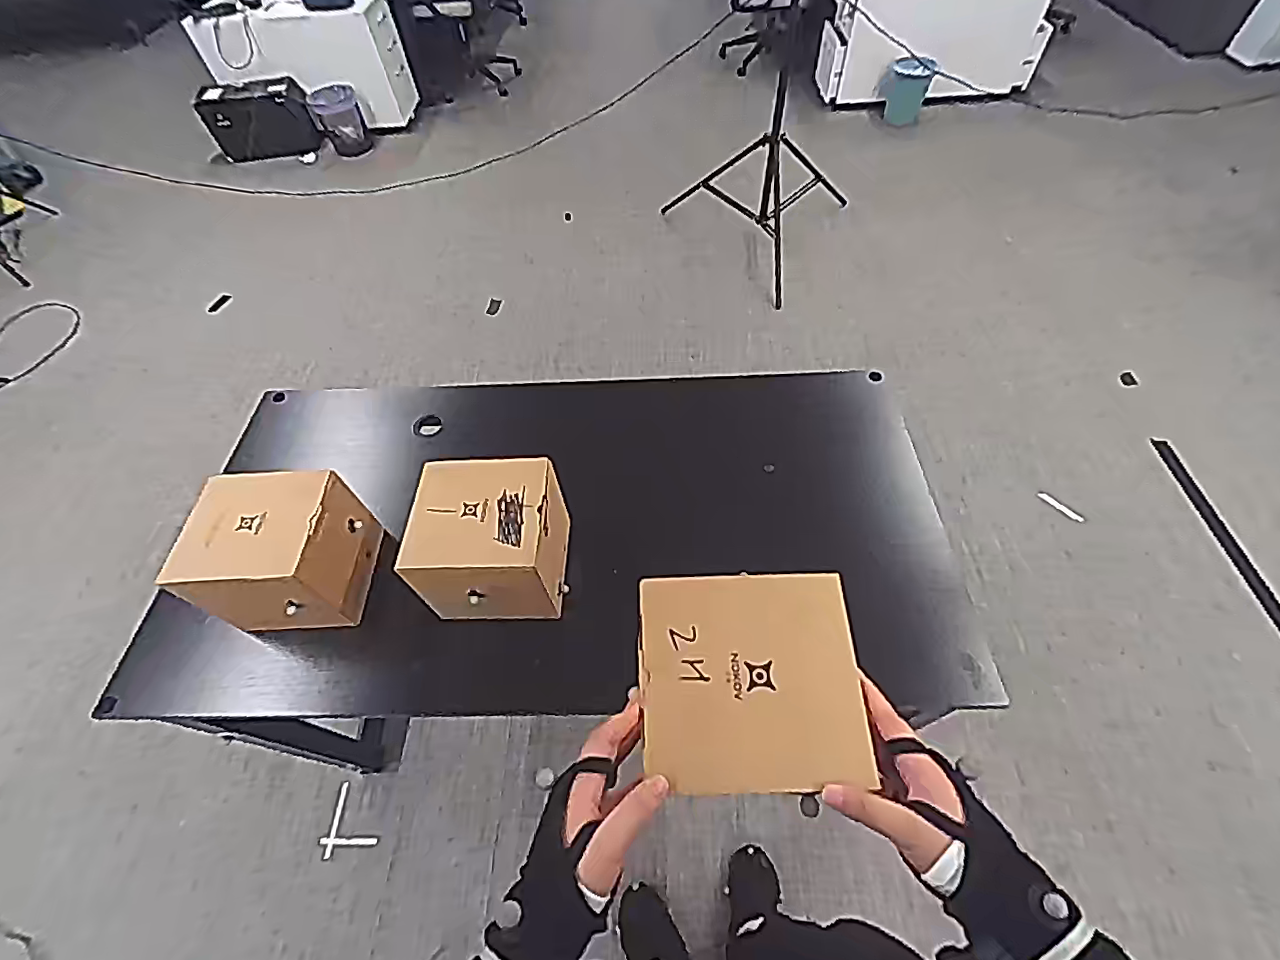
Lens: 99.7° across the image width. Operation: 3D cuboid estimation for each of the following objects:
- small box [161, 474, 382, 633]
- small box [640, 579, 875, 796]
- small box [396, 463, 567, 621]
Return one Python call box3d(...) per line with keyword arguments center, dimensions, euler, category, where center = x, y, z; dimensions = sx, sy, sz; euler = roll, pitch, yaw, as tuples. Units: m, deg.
box3d(center=(-0.500, 0.109, 0.771), dimensions=(0.179, 0.176, 0.168), euler=(-4, 54, 1), category="small box")
box3d(center=(0.090, 0.196, 0.506), dimensions=(0.179, 0.176, 0.168), euler=(-2, 62, 2), category="small box")
box3d(center=(-0.205, 0.091, 0.762), dimensions=(0.179, 0.176, 0.168), euler=(-2, 55, 4), category="small box")
